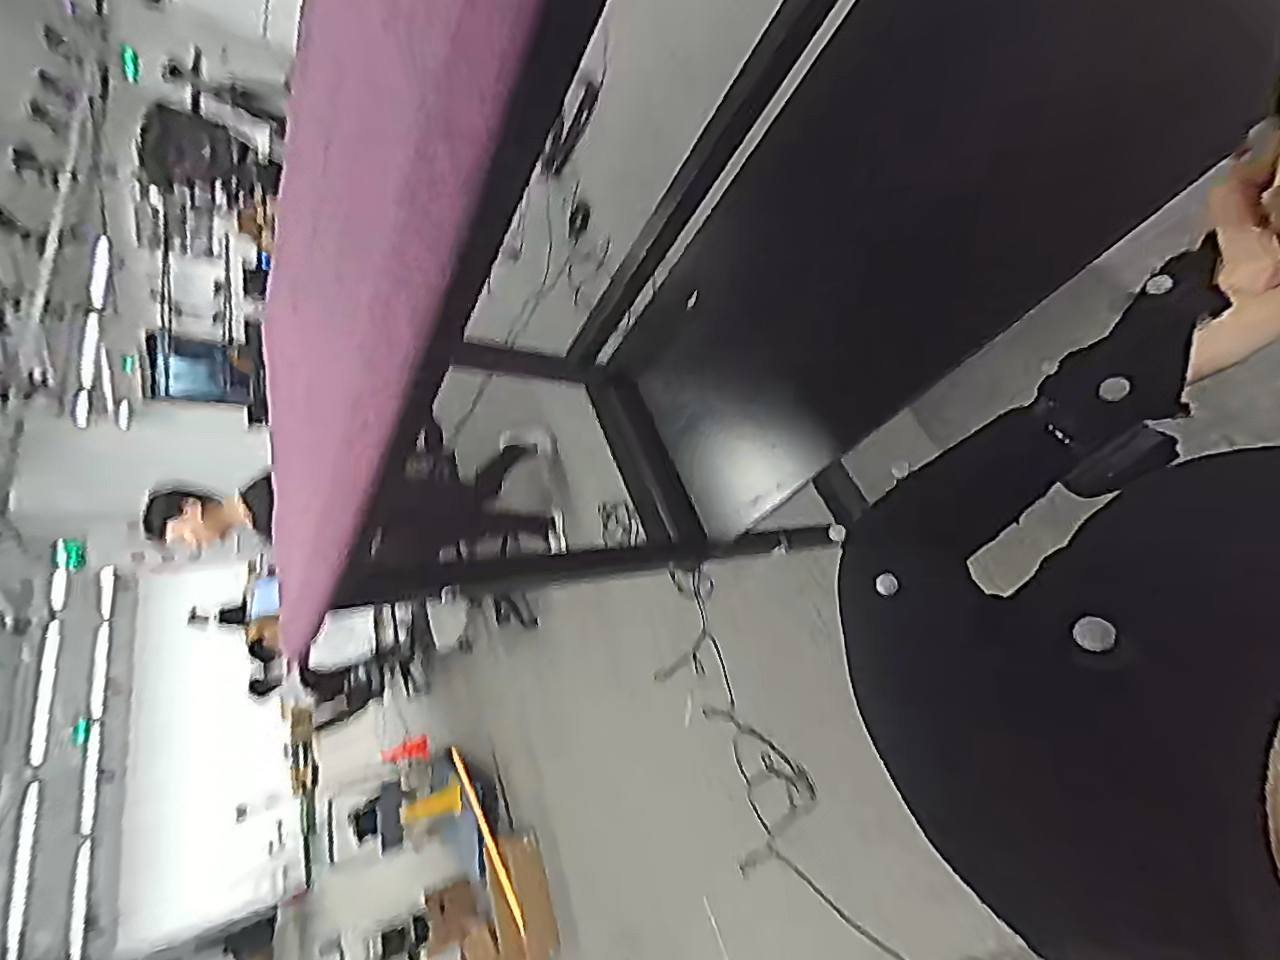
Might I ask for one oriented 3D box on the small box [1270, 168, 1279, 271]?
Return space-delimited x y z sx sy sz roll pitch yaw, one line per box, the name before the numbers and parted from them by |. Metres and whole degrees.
small box | 0.443 -0.214 0.254 0.179 0.176 0.168 8 92 49
